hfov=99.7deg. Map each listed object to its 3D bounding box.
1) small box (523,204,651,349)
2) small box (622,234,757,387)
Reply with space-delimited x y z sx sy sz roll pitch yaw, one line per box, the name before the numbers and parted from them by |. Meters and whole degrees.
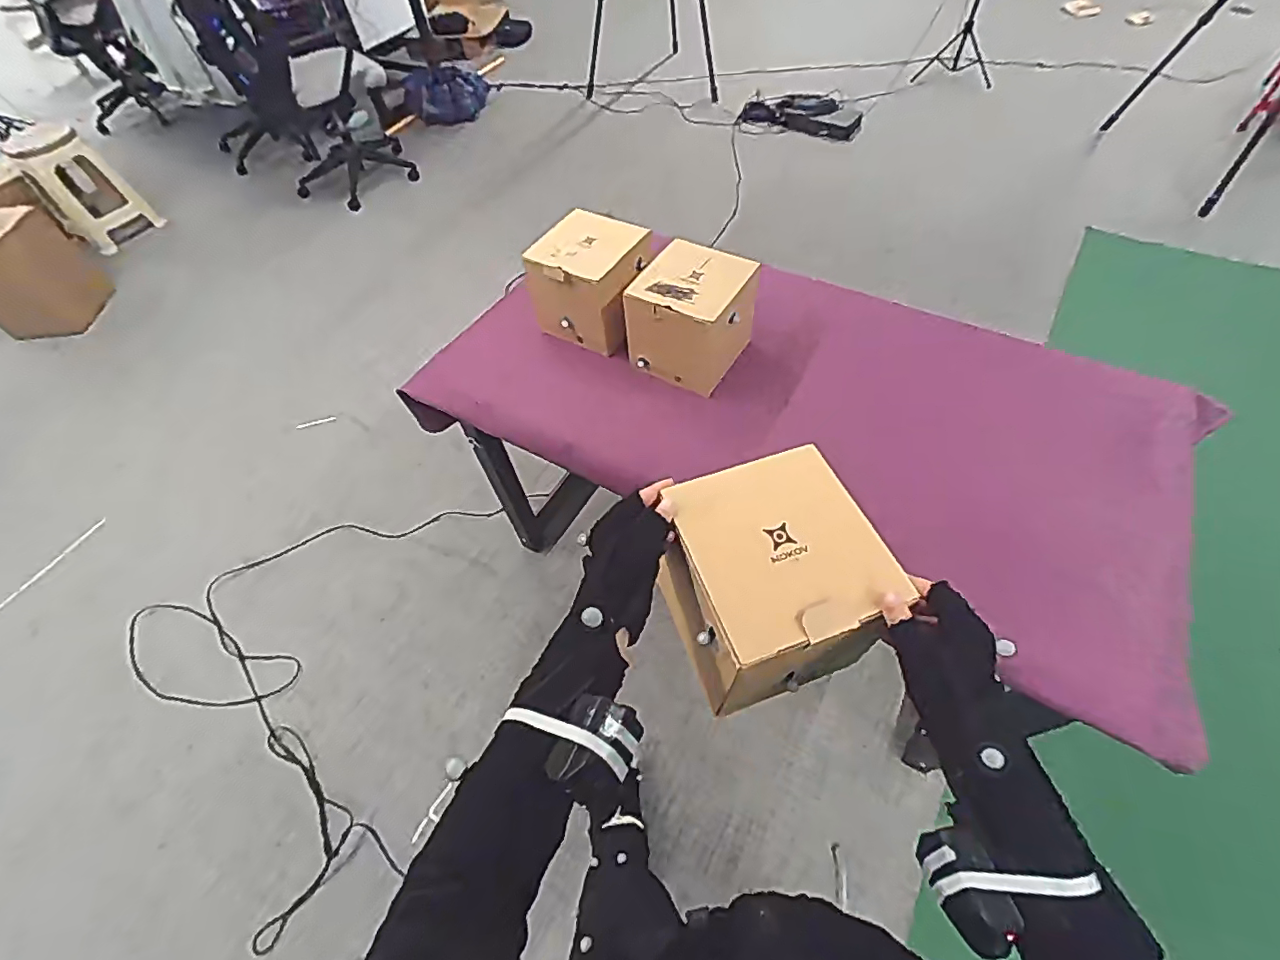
small box | -0.091 -0.383 1.026 0.168 0.176 0.179 25 62 20
small box | 0.090 -0.294 0.953 0.168 0.176 0.179 26 62 20
